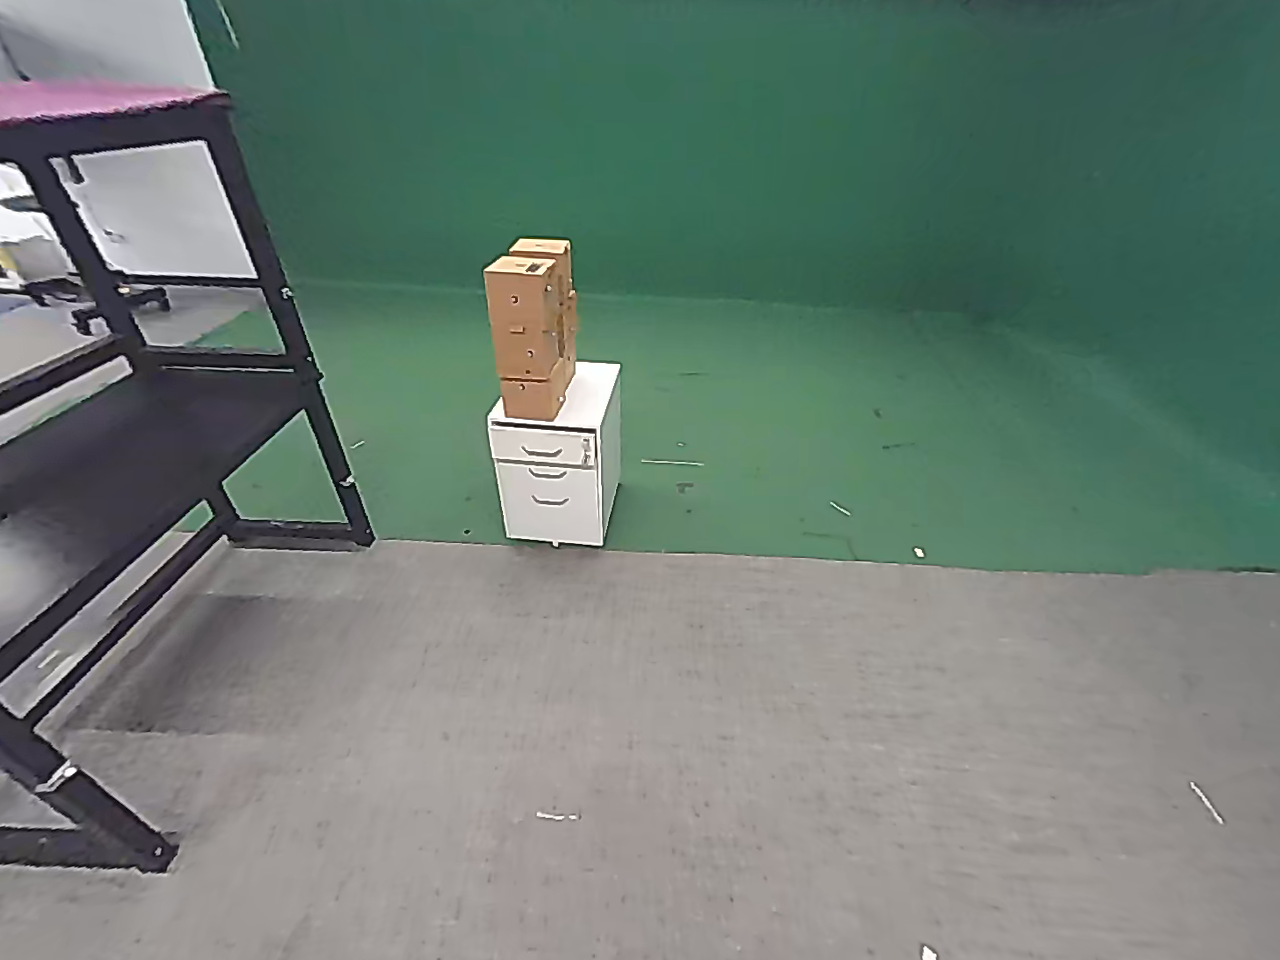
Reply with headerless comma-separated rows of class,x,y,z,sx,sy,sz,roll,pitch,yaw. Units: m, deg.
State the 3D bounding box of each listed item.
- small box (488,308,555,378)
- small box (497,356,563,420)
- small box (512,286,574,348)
small box,-0.375,-0.441,1.746,0.168,0.176,0.179,5,35,3
small box,-0.371,-0.321,1.855,0.179,0.176,0.168,7,36,6
small box,-0.345,-0.588,1.948,0.179,0.176,0.168,8,37,6
